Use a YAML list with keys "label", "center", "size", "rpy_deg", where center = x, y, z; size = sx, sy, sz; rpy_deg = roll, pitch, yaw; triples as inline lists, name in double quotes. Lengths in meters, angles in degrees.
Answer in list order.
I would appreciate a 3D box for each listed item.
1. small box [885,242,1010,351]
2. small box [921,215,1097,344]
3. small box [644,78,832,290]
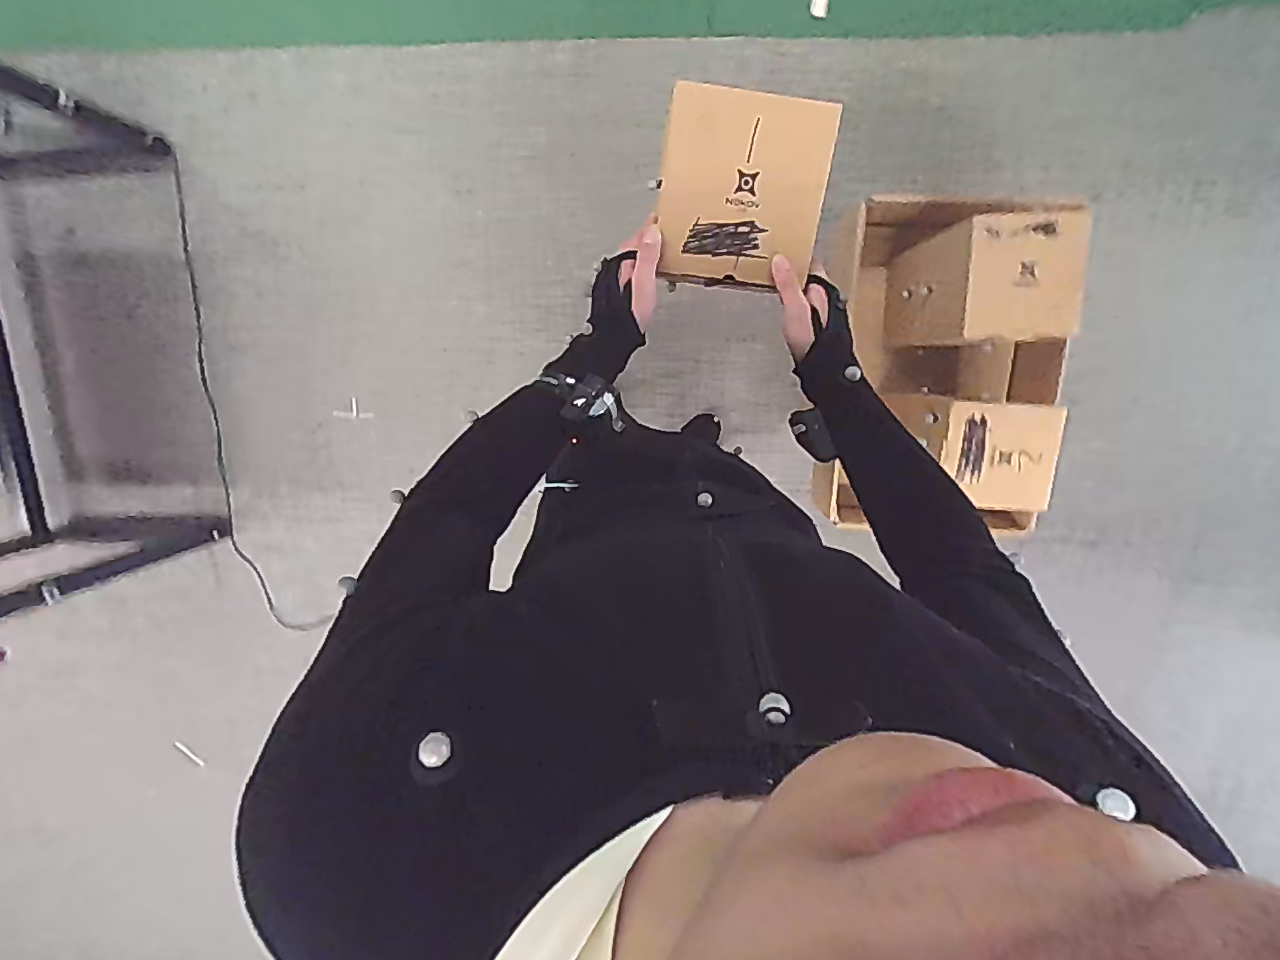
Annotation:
- label: "small box"
  center: [0.584, -0.341, 1.027]
  size: [0.168, 0.176, 0.179]
  rpy_deg: [2, 102, 3]
- label: "small box"
  center: [0.573, -0.309, 0.866]
  size: [0.168, 0.176, 0.179]
  rpy_deg: [0, 102, 4]
- label: "small box"
  center: [0.095, -0.317, 0.618]
  size: [0.168, 0.176, 0.179]
  rpy_deg: [6, 108, -3]
